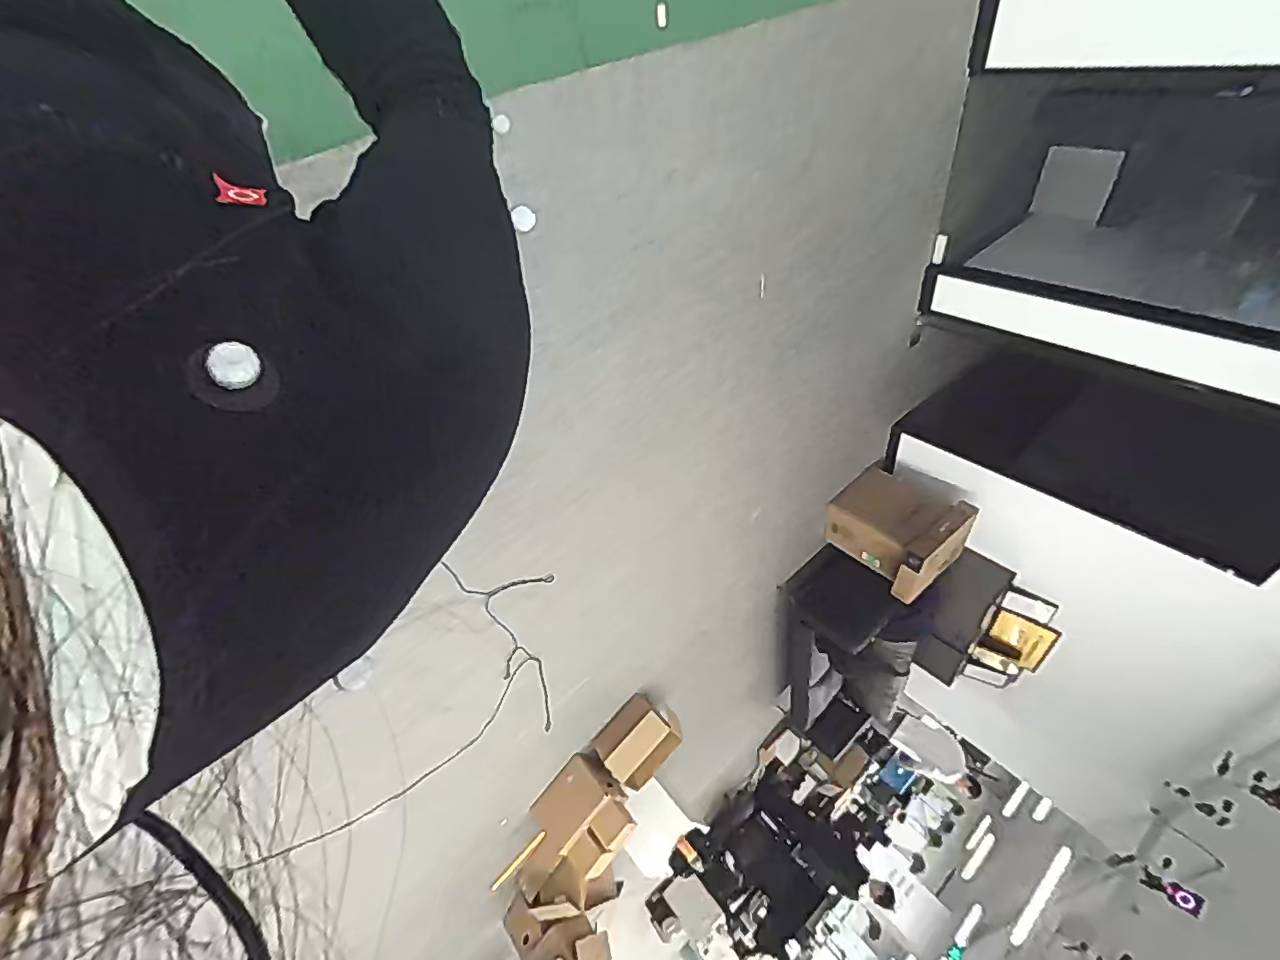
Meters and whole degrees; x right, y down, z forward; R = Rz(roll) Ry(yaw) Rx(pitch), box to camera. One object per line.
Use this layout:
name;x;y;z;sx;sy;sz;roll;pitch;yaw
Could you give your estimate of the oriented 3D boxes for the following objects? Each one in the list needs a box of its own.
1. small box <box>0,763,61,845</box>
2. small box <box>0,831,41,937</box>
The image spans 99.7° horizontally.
small box;-1.542;0.812;1.279;0.179;0.176;0.168;-38;140;-19
small box;-1.461;0.902;1.166;0.179;0.176;0.168;-36;139;-21
